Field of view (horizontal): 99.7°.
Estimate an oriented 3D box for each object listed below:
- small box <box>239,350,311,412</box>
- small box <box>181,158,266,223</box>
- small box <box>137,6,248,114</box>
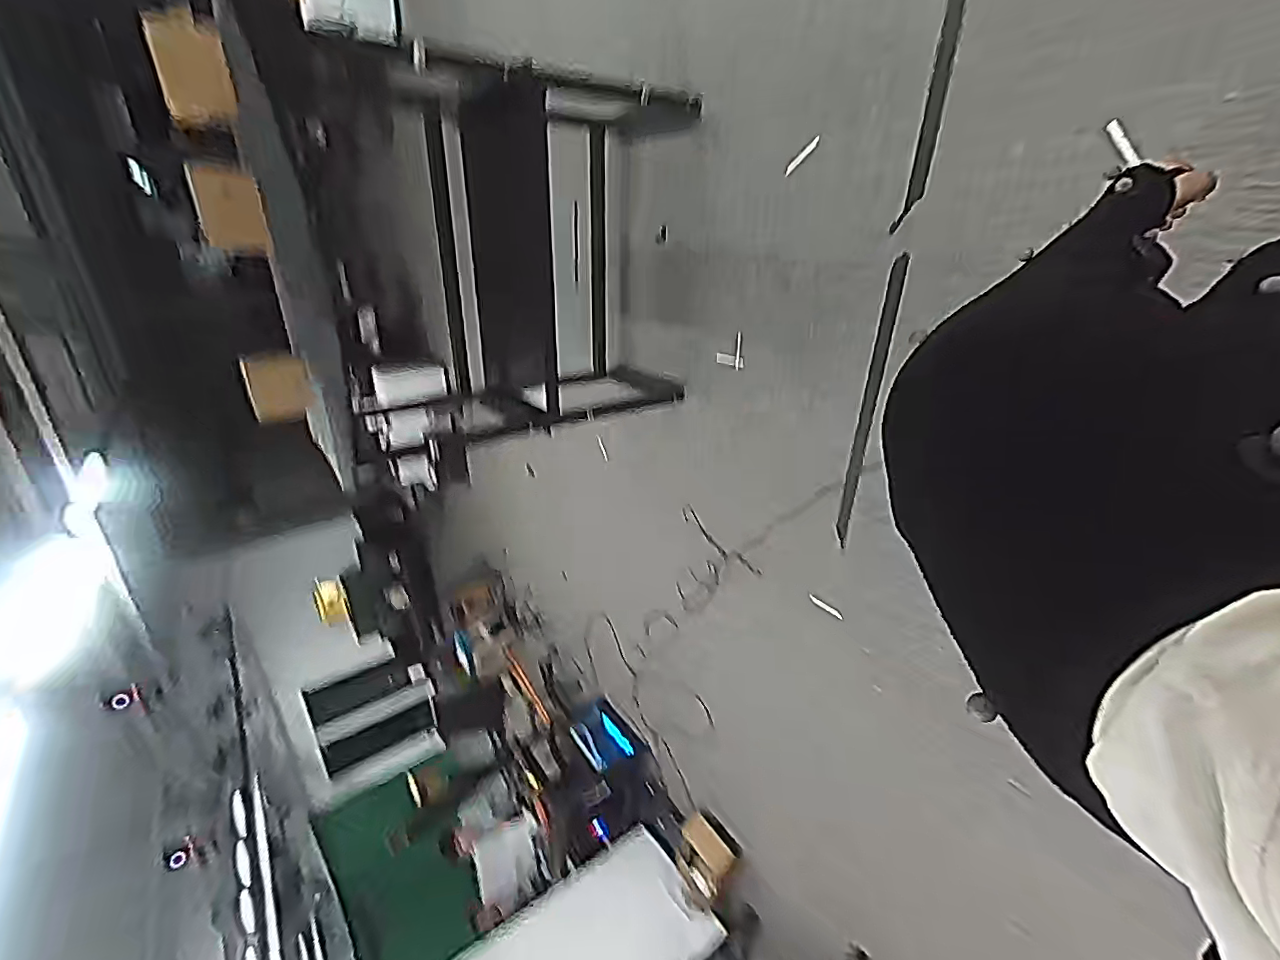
[{"bbox_3d":[-1.270,-0.351,1.885,0.168,0.176,0.179,28,125,47],"label":"small box"},{"bbox_3d":[-1.264,-0.878,1.648,0.179,0.176,0.168,29,127,46],"label":"small box"},{"bbox_3d":[-1.080,-1.012,1.318,0.179,0.176,0.168,28,127,48],"label":"small box"}]
